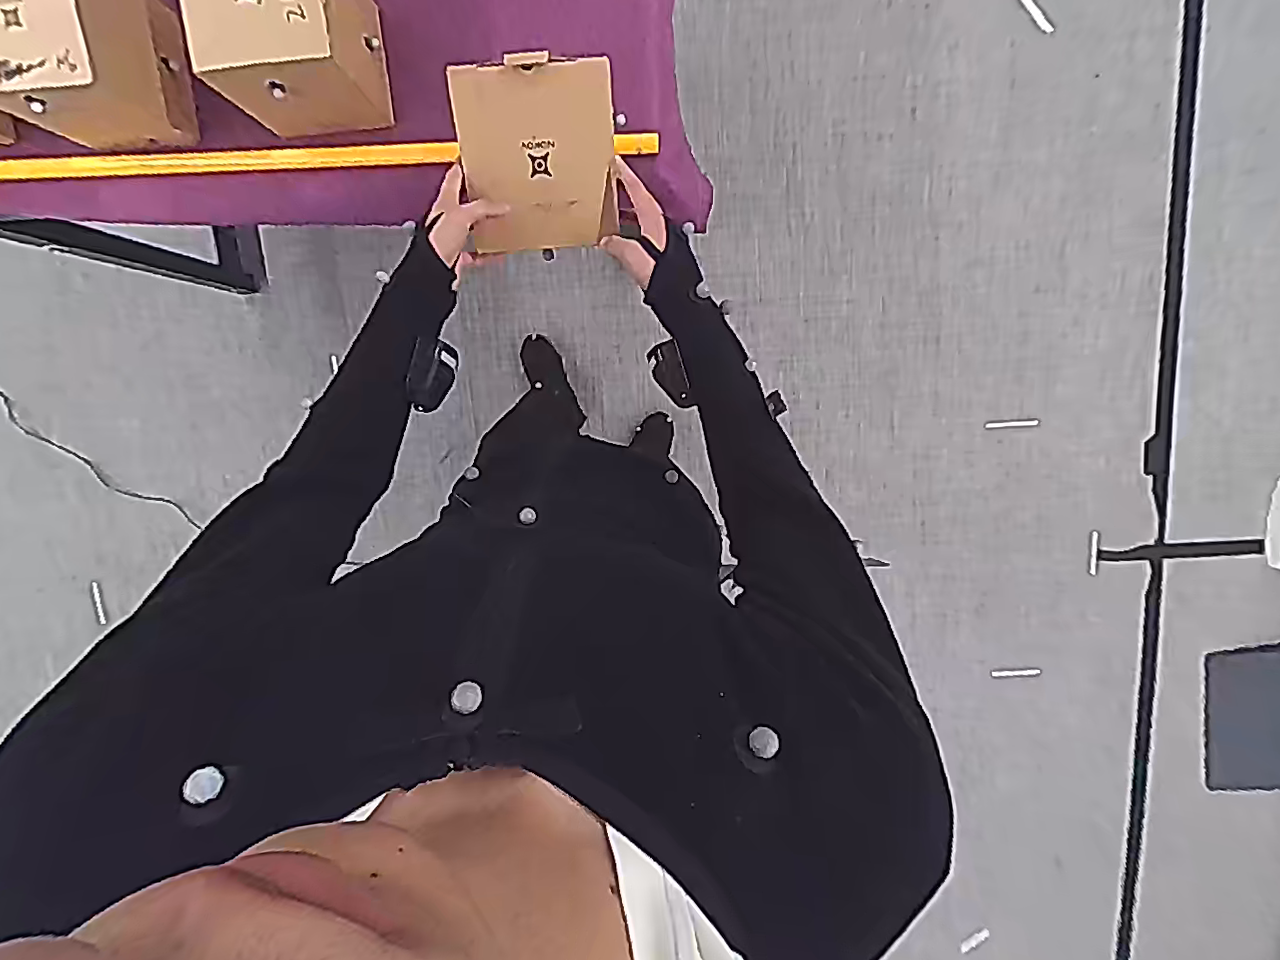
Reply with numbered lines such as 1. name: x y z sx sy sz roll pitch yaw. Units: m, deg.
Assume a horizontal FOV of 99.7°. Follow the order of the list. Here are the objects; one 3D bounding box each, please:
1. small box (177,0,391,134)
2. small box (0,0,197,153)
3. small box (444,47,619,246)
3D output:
1. small box: -0.463 -0.588 0.718 0.179 0.176 0.168 -5 98 1
2. small box: -0.749 -0.572 0.723 0.168 0.176 0.179 -3 99 3
3. small box: -0.113 -0.377 0.640 0.168 0.176 0.179 -4 115 0
